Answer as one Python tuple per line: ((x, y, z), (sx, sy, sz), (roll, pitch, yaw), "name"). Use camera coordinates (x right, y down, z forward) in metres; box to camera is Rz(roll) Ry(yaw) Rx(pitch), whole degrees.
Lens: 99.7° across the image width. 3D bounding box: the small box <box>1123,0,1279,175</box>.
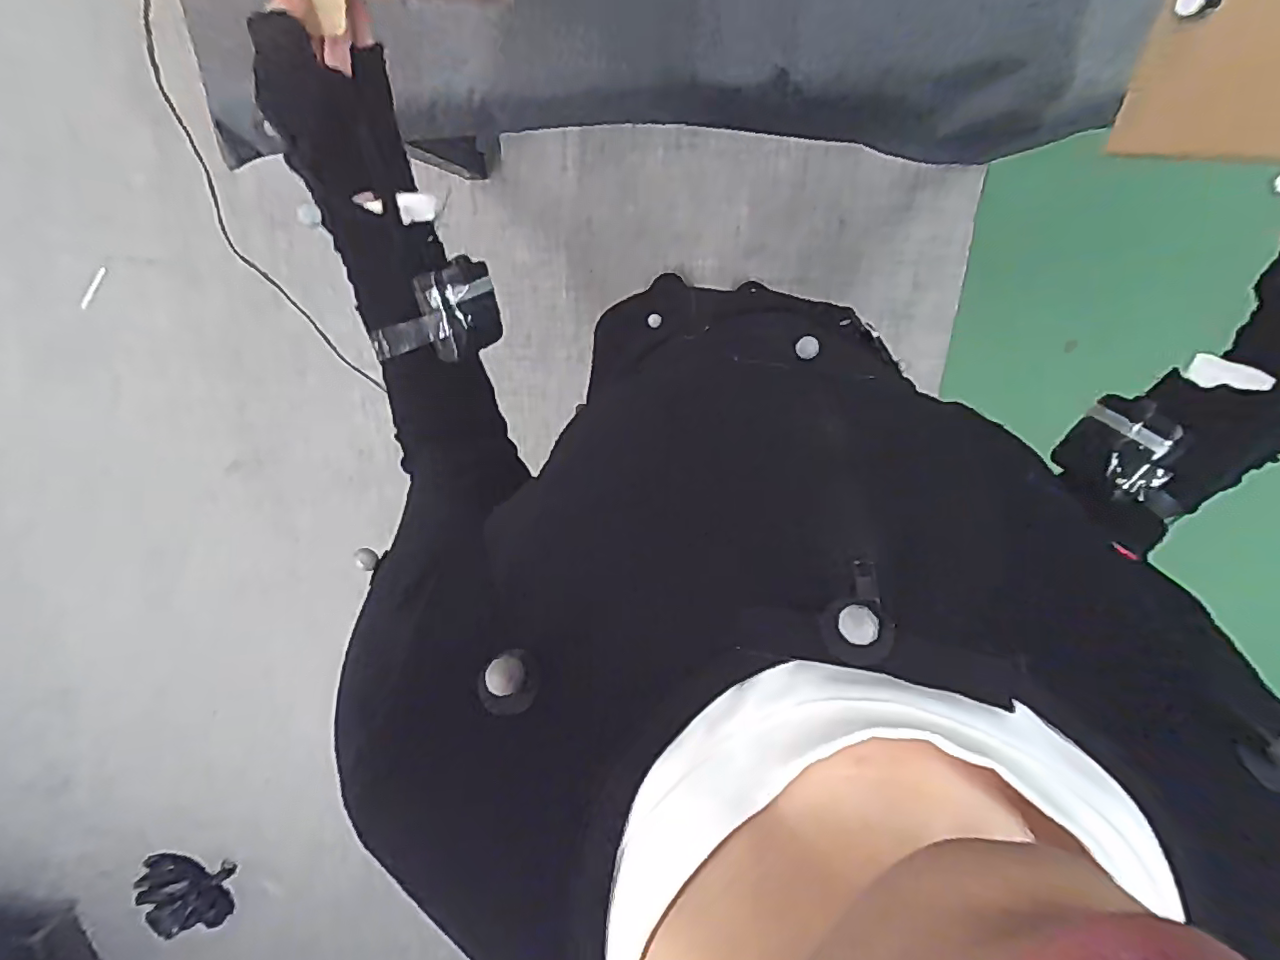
((0.444, -0.276, 0.311), (0.168, 0.176, 0.179), (3, 123, 0), "small box")
